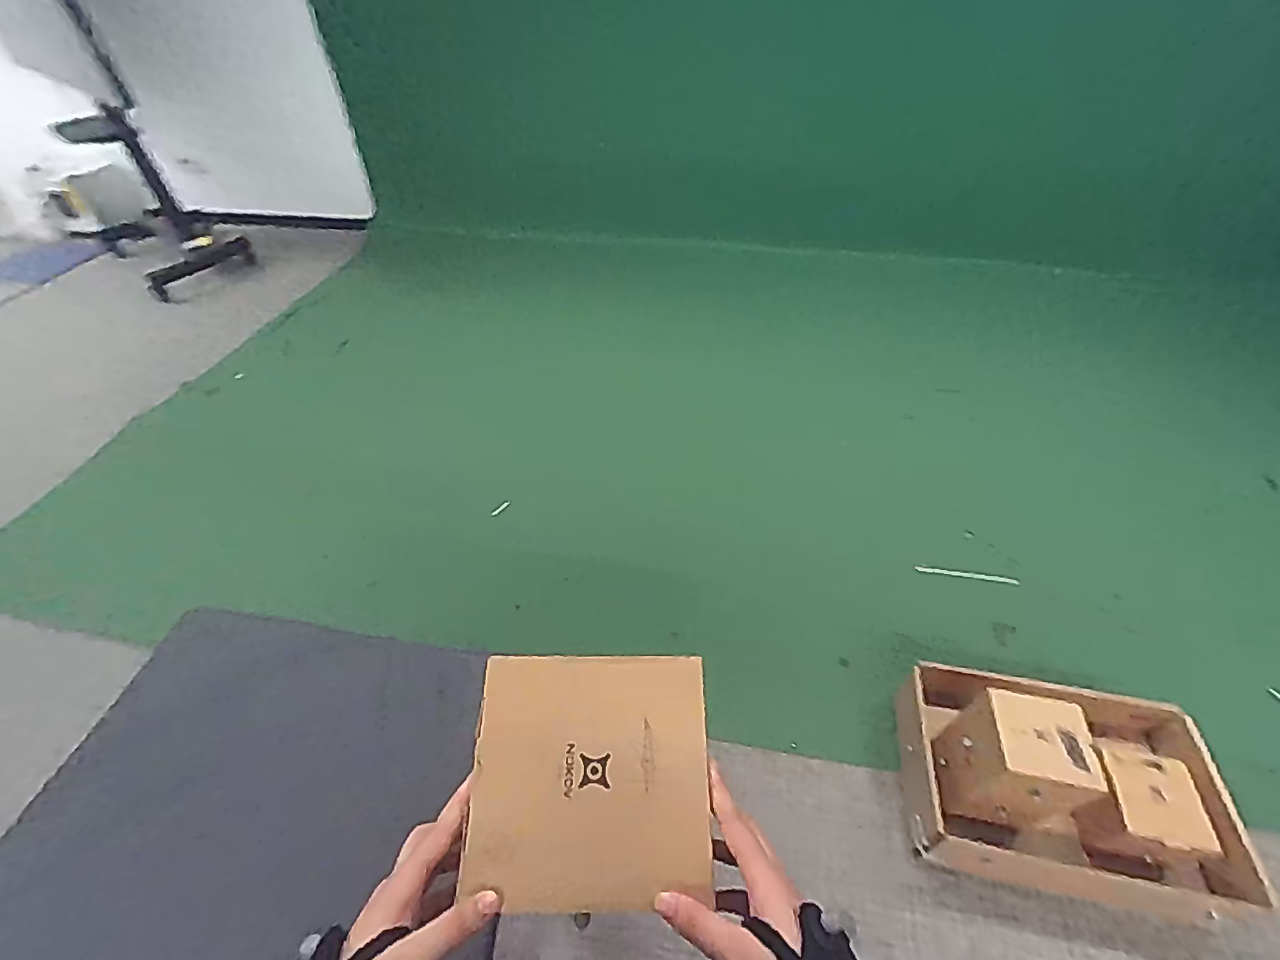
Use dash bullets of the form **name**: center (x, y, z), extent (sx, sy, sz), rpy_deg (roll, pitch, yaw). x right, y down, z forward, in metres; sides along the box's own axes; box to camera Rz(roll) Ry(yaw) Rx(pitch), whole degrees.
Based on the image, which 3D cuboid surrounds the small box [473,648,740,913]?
- **small box**: center (-0.020, 0.244, 0.454), extent (0.179, 0.176, 0.168), rpy_deg (0, 61, 0)

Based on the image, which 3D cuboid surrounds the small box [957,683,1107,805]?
- **small box**: center (0.788, 0.547, 1.111), extent (0.179, 0.176, 0.168), rpy_deg (8, 47, 9)

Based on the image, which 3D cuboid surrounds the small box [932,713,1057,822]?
- **small box**: center (0.789, 0.658, 1.232), extent (0.179, 0.176, 0.168), rpy_deg (8, 48, 7)
